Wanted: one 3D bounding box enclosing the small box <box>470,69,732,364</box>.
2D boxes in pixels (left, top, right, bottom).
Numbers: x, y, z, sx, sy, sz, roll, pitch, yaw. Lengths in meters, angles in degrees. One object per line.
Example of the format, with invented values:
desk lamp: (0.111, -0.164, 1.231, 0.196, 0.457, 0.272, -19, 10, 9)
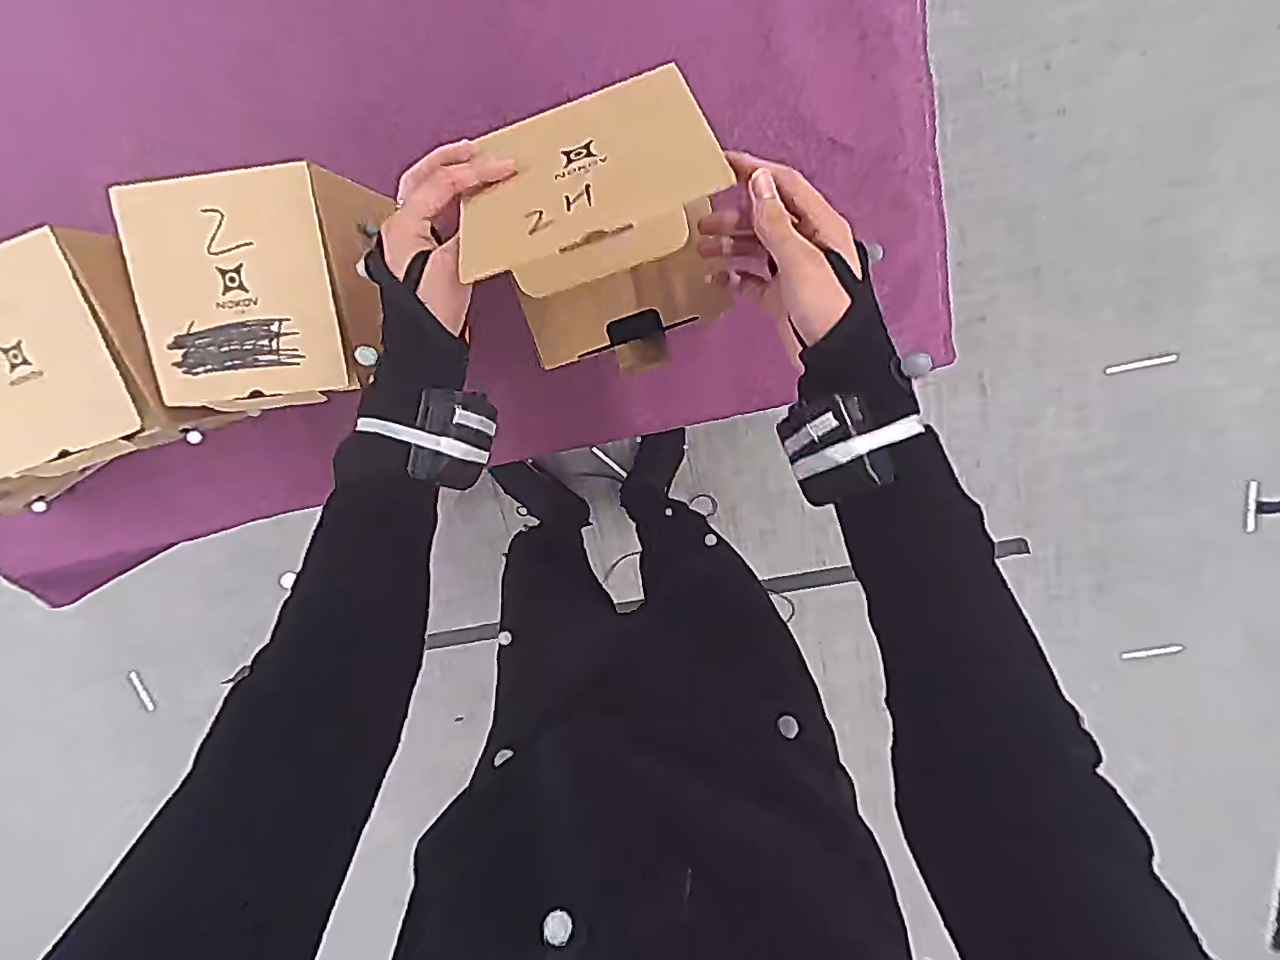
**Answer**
small box: (-0.024, -0.214, 0.491, 0.168, 0.176, 0.179, -15, 105, 8)
